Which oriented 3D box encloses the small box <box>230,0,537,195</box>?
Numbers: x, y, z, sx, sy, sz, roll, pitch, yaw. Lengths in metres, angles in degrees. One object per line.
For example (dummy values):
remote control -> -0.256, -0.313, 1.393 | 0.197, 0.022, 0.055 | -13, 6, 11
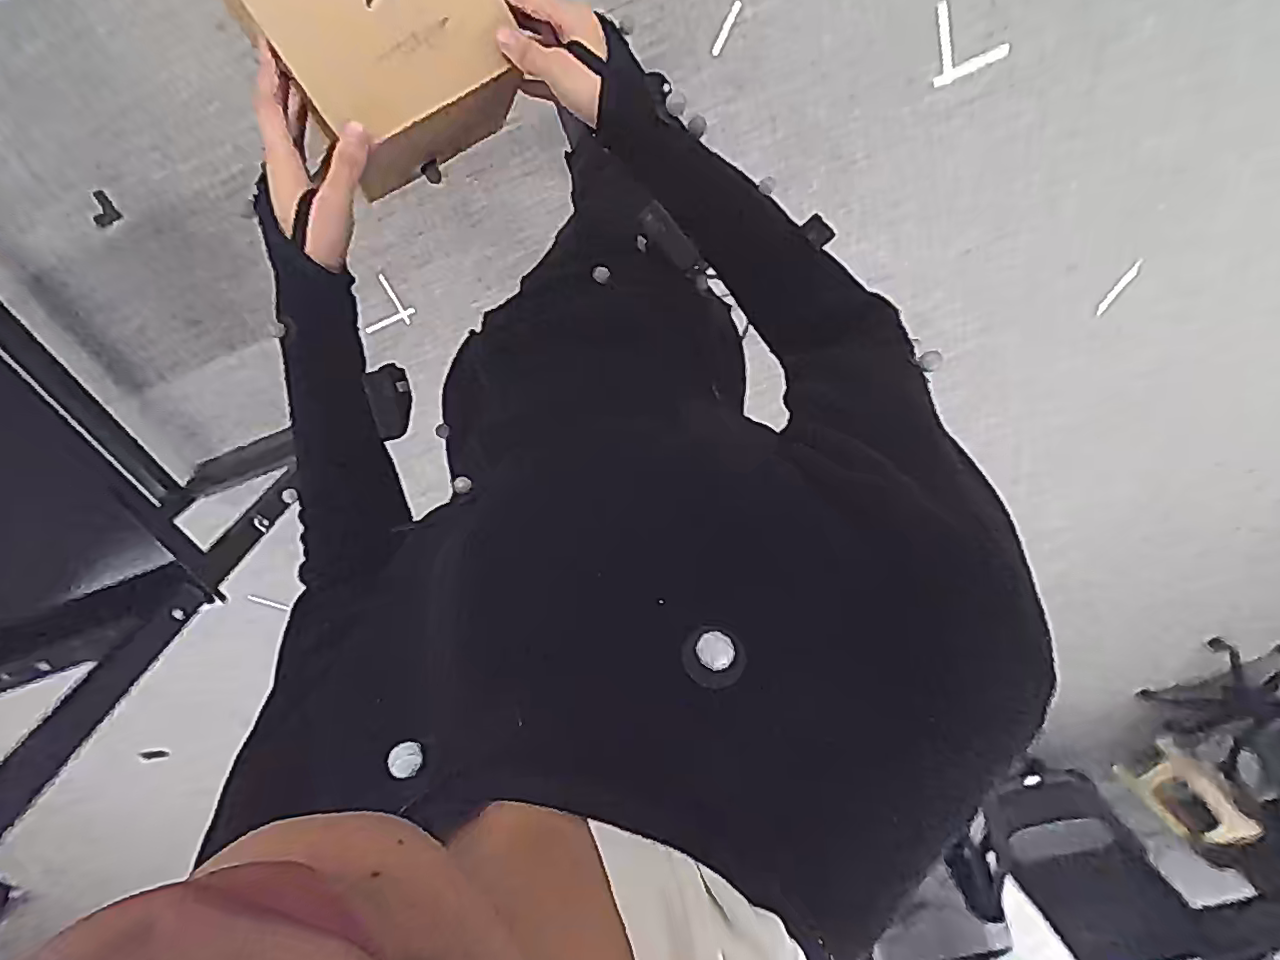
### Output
small box -> -0.213, -0.367, 0.436 | 0.168, 0.176, 0.179 | -37, 115, -10
